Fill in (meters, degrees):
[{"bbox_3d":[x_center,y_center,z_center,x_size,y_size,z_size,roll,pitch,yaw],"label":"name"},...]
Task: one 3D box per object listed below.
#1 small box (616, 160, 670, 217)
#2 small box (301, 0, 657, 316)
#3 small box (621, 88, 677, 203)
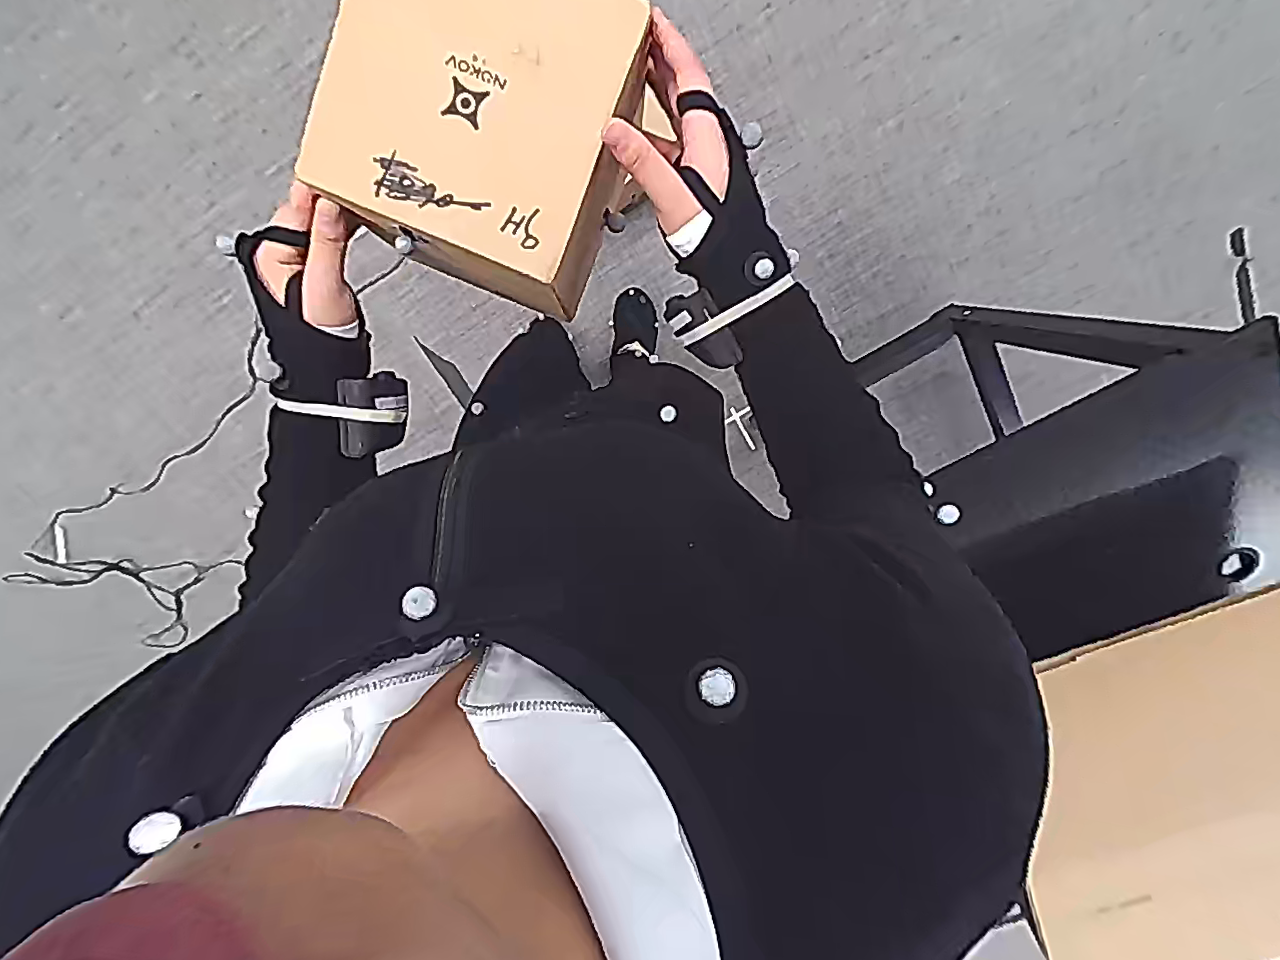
[{"bbox_3d":[-0.054,-0.696,1.185,0.179,0.176,0.168,-32,107,12],"label":"small box"},{"bbox_3d":[-0.100,-0.245,0.402,0.168,0.176,0.179,22,95,-4],"label":"small box"},{"bbox_3d":[-0.048,-0.644,1.031,0.179,0.176,0.168,-36,107,11],"label":"small box"}]
